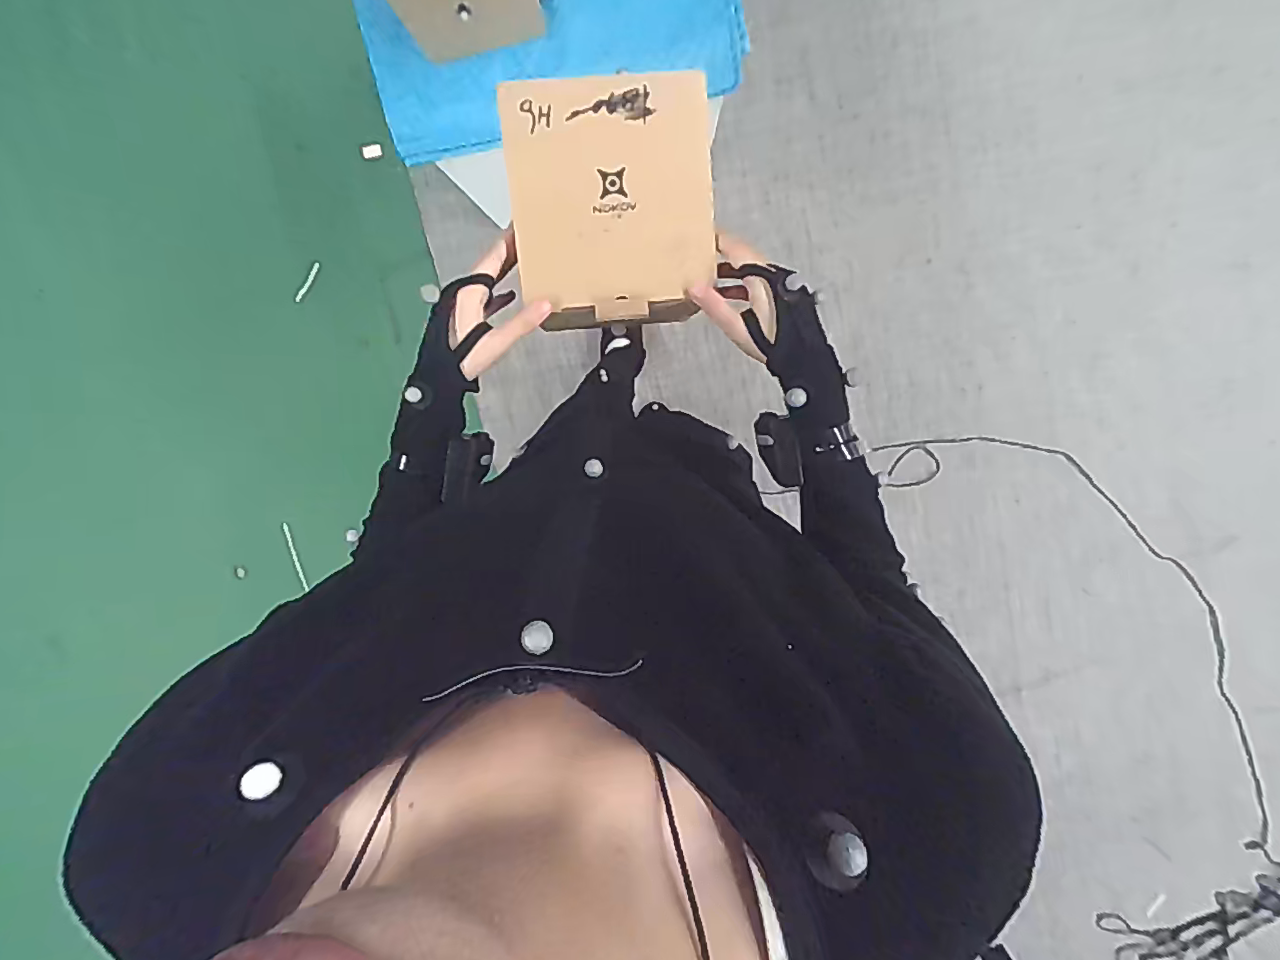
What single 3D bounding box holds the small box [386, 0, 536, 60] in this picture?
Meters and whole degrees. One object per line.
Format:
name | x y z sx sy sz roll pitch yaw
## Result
small box | -0.238 -0.680 0.680 0.179 0.176 0.168 -12 100 4
